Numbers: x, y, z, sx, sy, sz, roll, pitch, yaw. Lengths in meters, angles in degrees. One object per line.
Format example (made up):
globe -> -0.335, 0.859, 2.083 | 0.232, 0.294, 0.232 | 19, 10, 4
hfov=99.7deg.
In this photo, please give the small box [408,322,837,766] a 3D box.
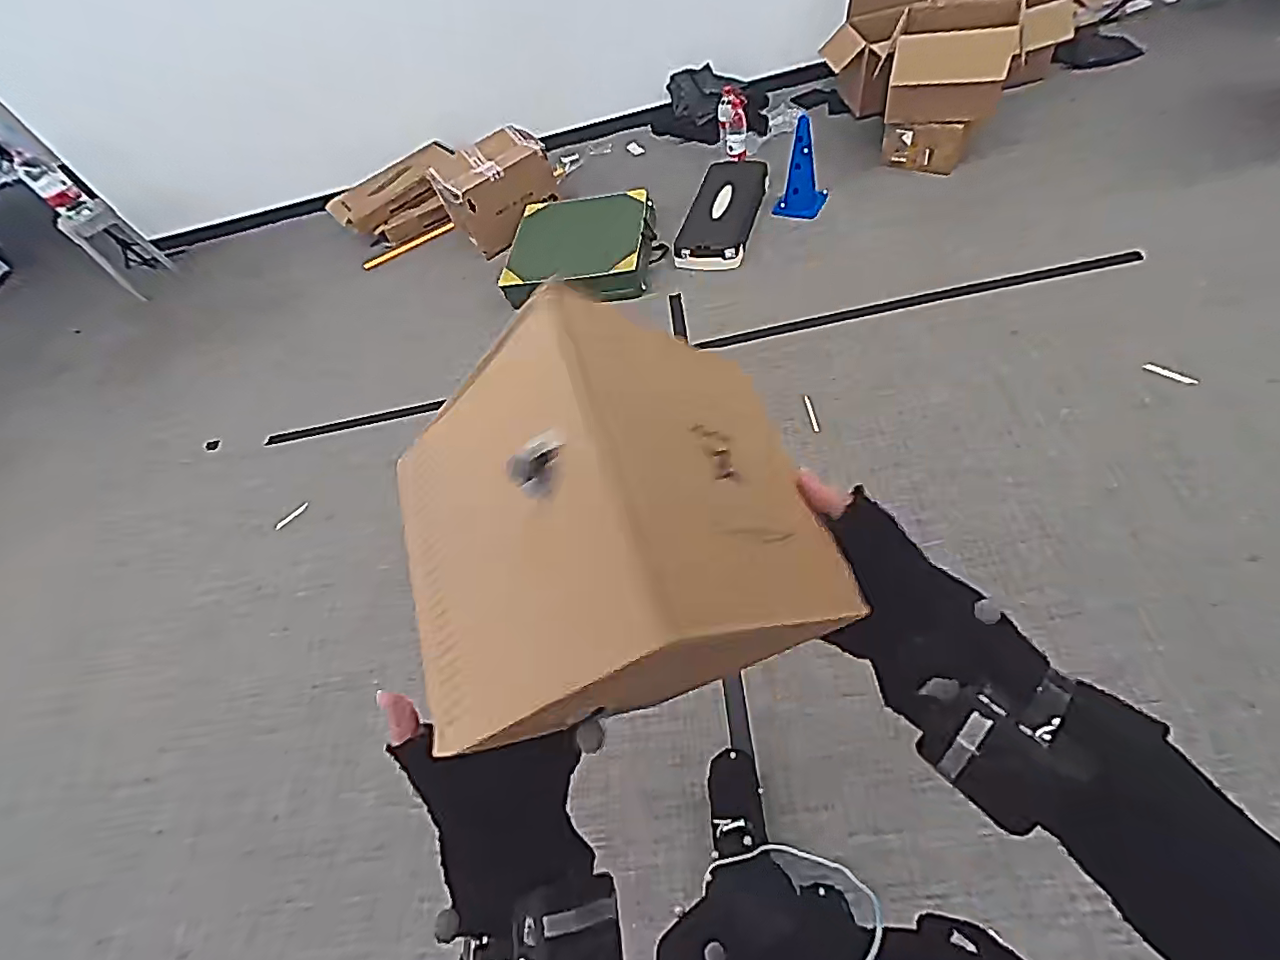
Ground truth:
small box -> -0.024, 0.045, 0.328 | 0.176, 0.168, 0.179 | -40, 57, 35
